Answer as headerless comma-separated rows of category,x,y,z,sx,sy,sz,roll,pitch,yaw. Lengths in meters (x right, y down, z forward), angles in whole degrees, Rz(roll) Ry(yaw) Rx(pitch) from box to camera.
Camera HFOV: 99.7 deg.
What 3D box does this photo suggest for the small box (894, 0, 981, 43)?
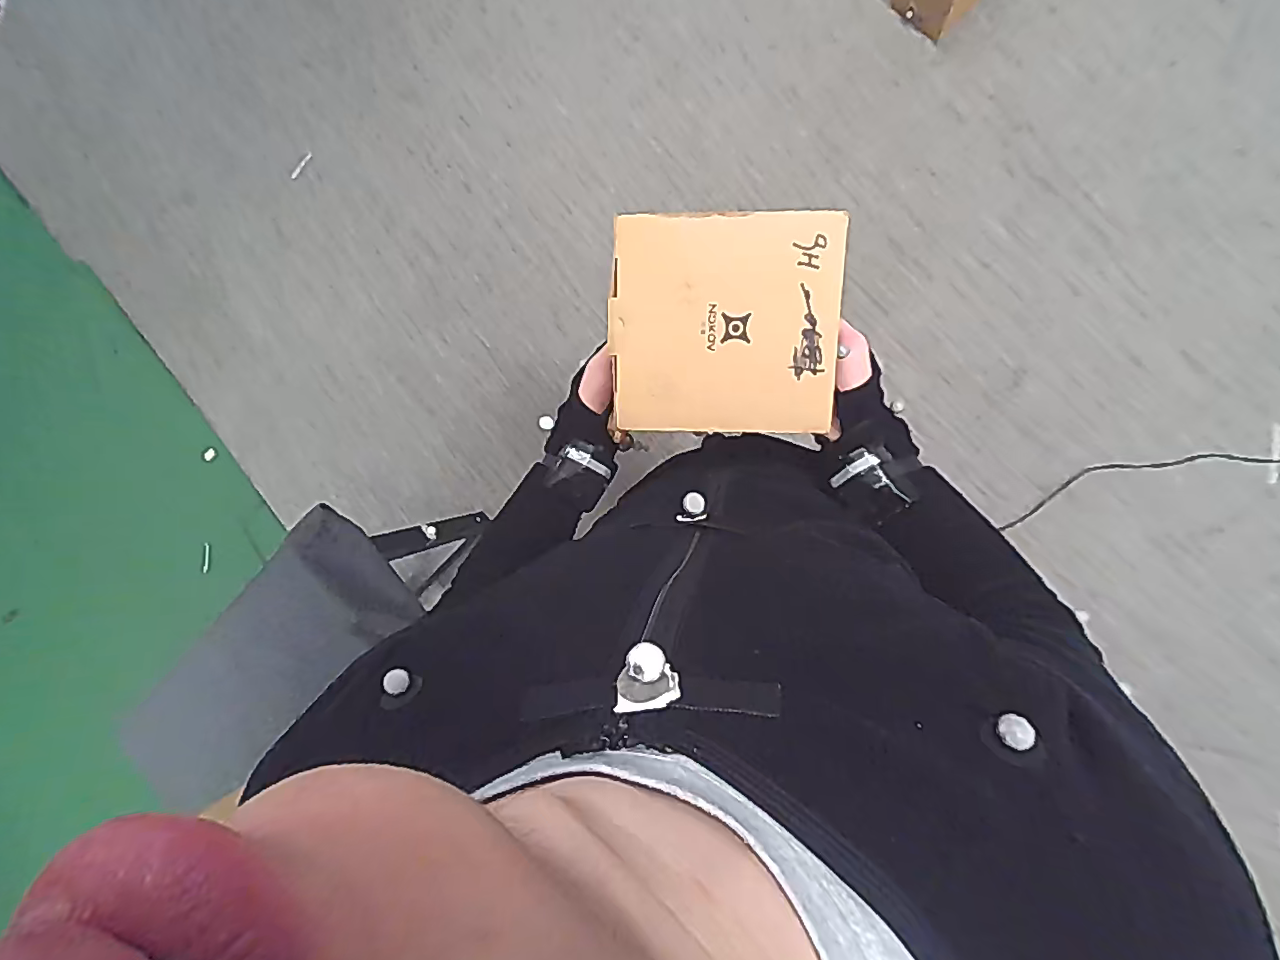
small box,0.731,-1.199,1.268,0.168,0.176,0.179,46,103,9
